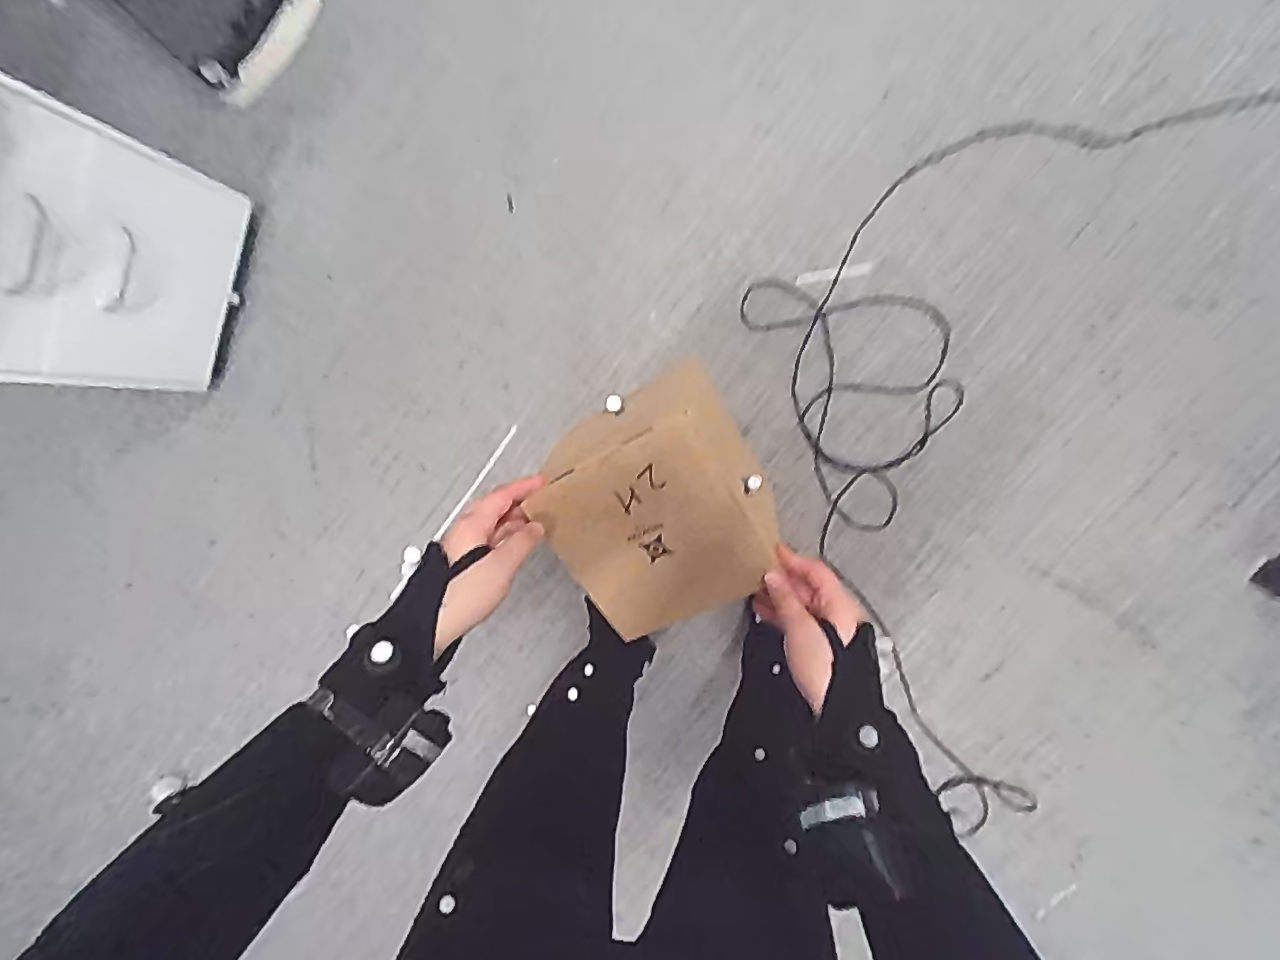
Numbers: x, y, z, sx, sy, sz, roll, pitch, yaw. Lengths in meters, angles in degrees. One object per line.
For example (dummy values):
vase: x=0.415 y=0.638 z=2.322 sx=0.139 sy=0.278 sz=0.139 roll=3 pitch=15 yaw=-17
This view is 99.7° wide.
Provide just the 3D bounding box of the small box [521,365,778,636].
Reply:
small box: x=0.020 y=0.014 z=0.531 sx=0.168 sy=0.176 sz=0.179 roll=-26 pitch=109 yaw=19
